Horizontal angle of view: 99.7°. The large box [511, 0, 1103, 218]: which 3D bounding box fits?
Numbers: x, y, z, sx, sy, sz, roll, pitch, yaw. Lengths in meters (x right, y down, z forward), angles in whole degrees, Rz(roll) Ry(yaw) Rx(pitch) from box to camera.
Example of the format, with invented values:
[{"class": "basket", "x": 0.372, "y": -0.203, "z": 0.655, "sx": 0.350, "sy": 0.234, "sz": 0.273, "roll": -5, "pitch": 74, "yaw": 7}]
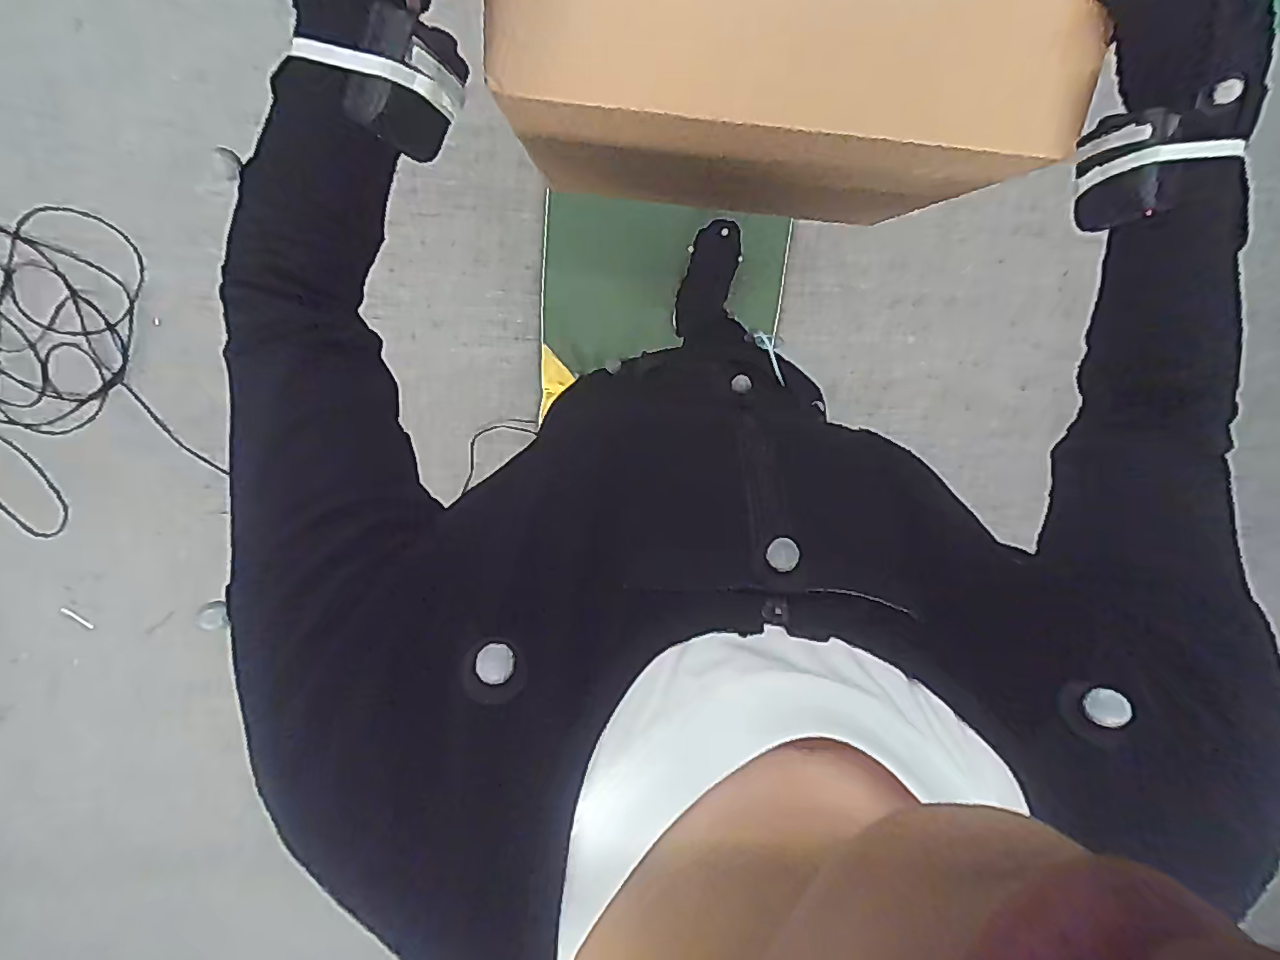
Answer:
[{"class": "large box", "x": 0.111, "y": -0.438, "z": 0.477, "sx": 0.408, "sy": 0.320, "sz": 0.320, "roll": 4, "pitch": 107, "yaw": -4}]
